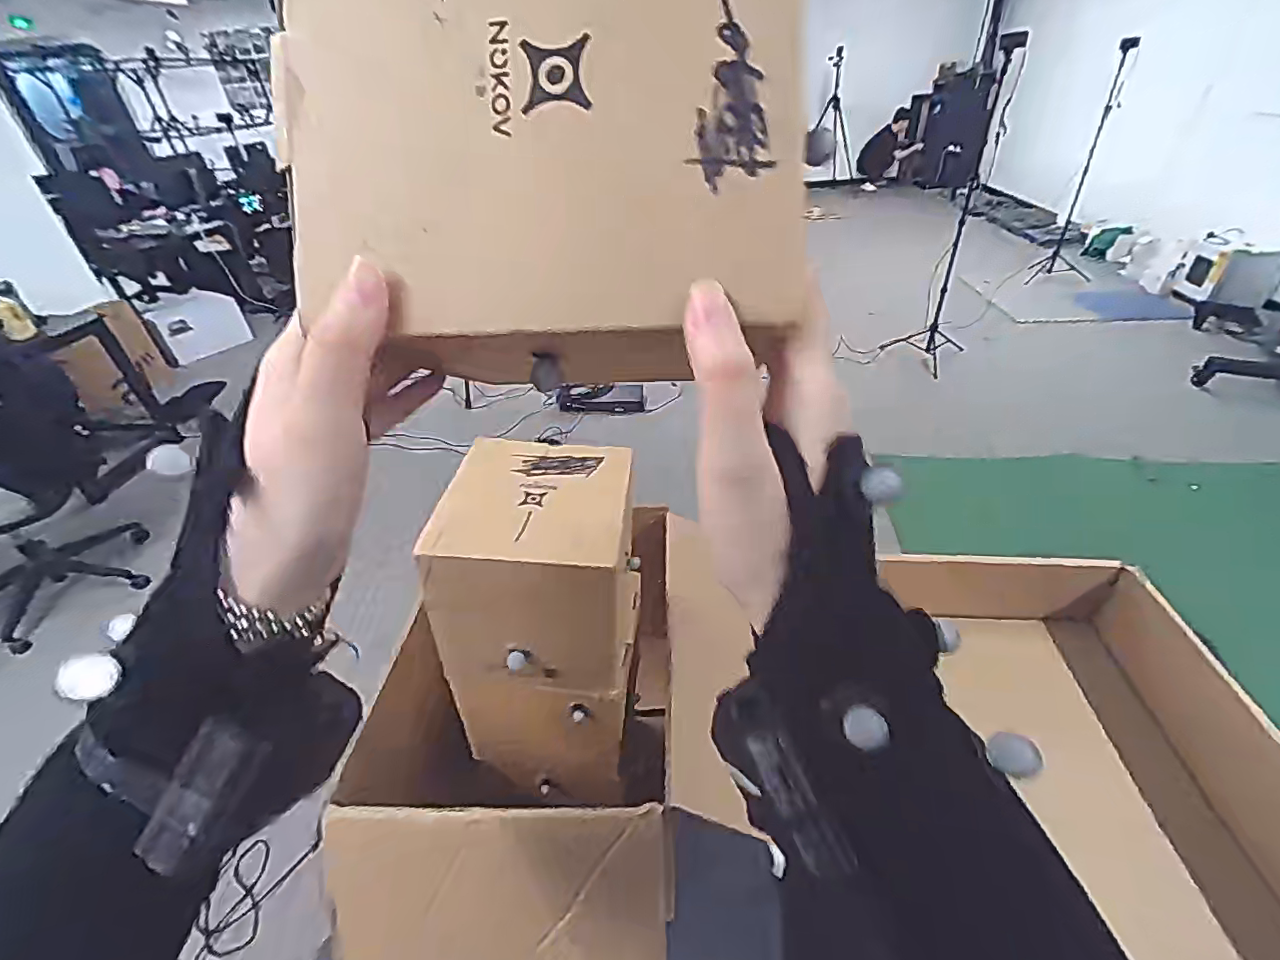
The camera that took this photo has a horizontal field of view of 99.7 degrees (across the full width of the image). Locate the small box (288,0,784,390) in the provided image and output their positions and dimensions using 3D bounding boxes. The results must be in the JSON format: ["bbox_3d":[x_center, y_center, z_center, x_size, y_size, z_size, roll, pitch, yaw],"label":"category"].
[{"bbox_3d":[-0.030,-0.135,0.263,0.179,0.168,0.176,0,3,6],"label":"small box"}]

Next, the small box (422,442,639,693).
[{"bbox_3d":[-0.092,0.082,0.540,0.168,0.176,0.179,3,36,2],"label":"small box"}]
